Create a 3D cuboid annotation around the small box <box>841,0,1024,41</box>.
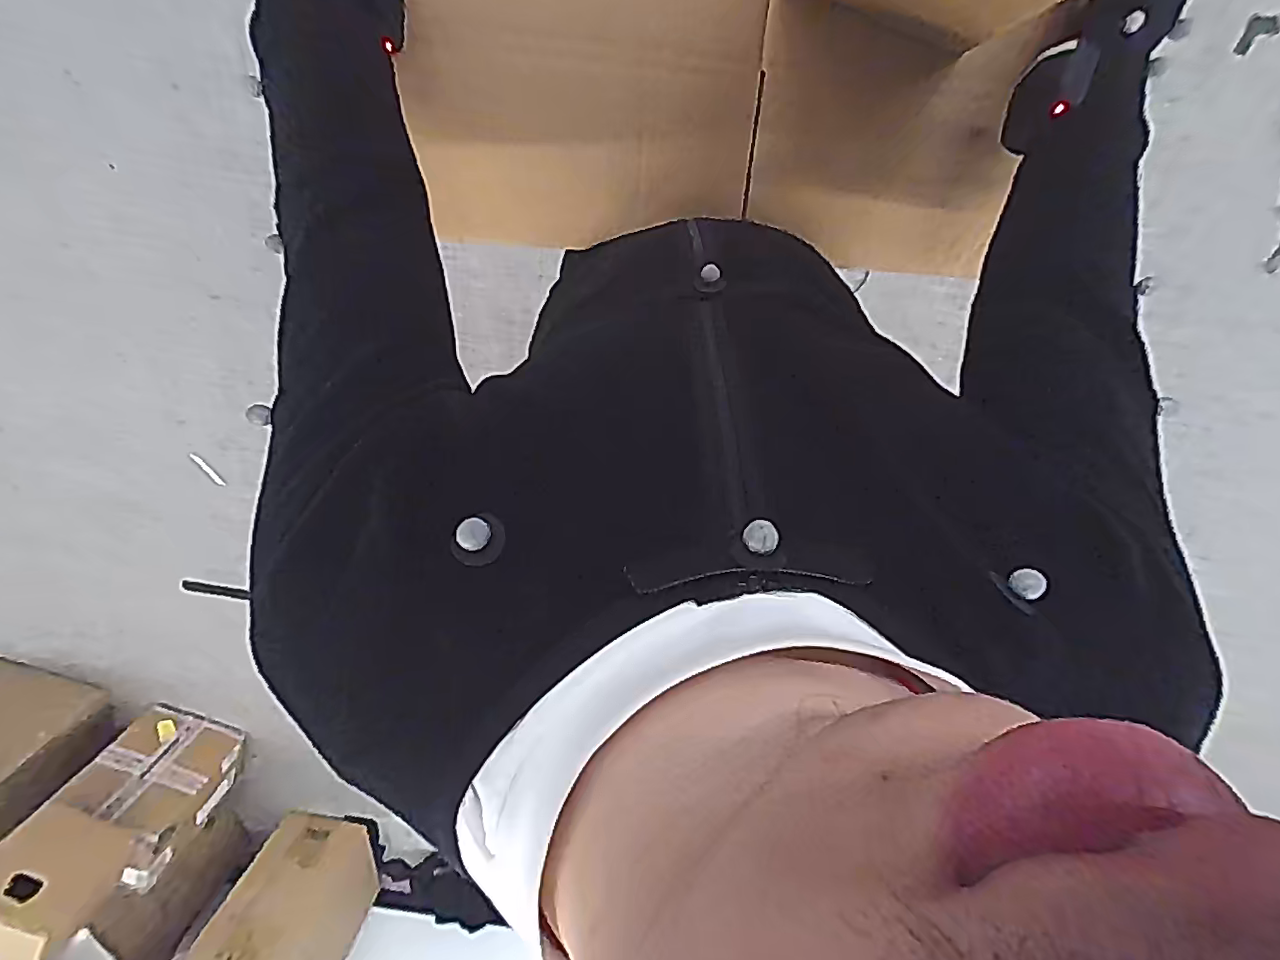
[{"bbox_3d":[0.222,-0.435,0.360,0.179,0.176,0.168,17,116,-4],"label":"small box"}]
